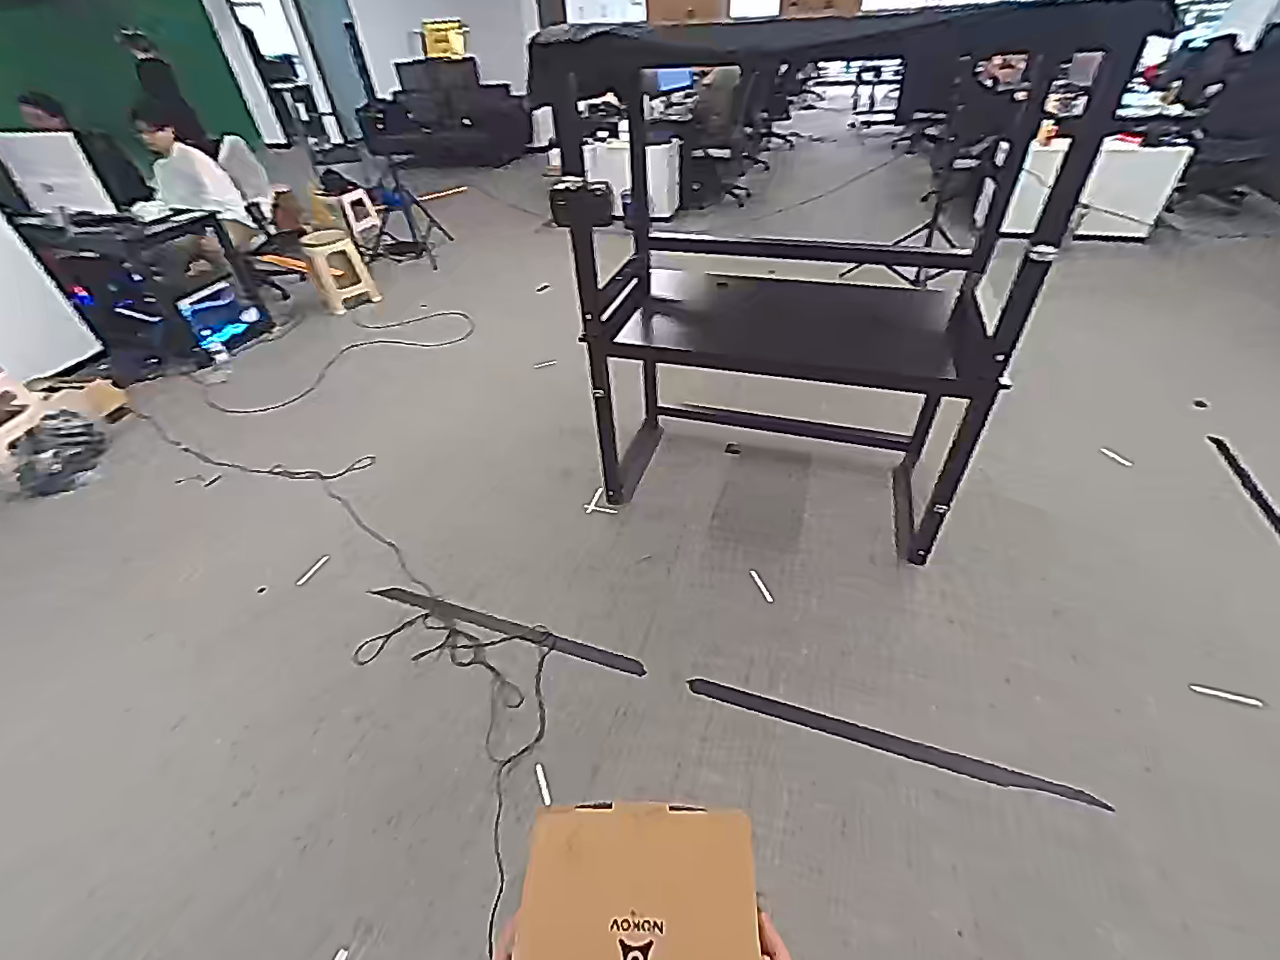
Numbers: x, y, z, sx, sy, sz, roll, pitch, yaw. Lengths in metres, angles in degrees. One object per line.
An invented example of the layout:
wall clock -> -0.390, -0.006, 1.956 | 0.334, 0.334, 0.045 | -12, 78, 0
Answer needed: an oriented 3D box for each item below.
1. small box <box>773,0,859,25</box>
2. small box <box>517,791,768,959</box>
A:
small box -> 0.372, -1.047, 1.103 | 0.168, 0.176, 0.179 | 11, 41, 16
small box -> 0.006, 0.363, 0.409 | 0.168, 0.176, 0.179 | -1, 43, 5
